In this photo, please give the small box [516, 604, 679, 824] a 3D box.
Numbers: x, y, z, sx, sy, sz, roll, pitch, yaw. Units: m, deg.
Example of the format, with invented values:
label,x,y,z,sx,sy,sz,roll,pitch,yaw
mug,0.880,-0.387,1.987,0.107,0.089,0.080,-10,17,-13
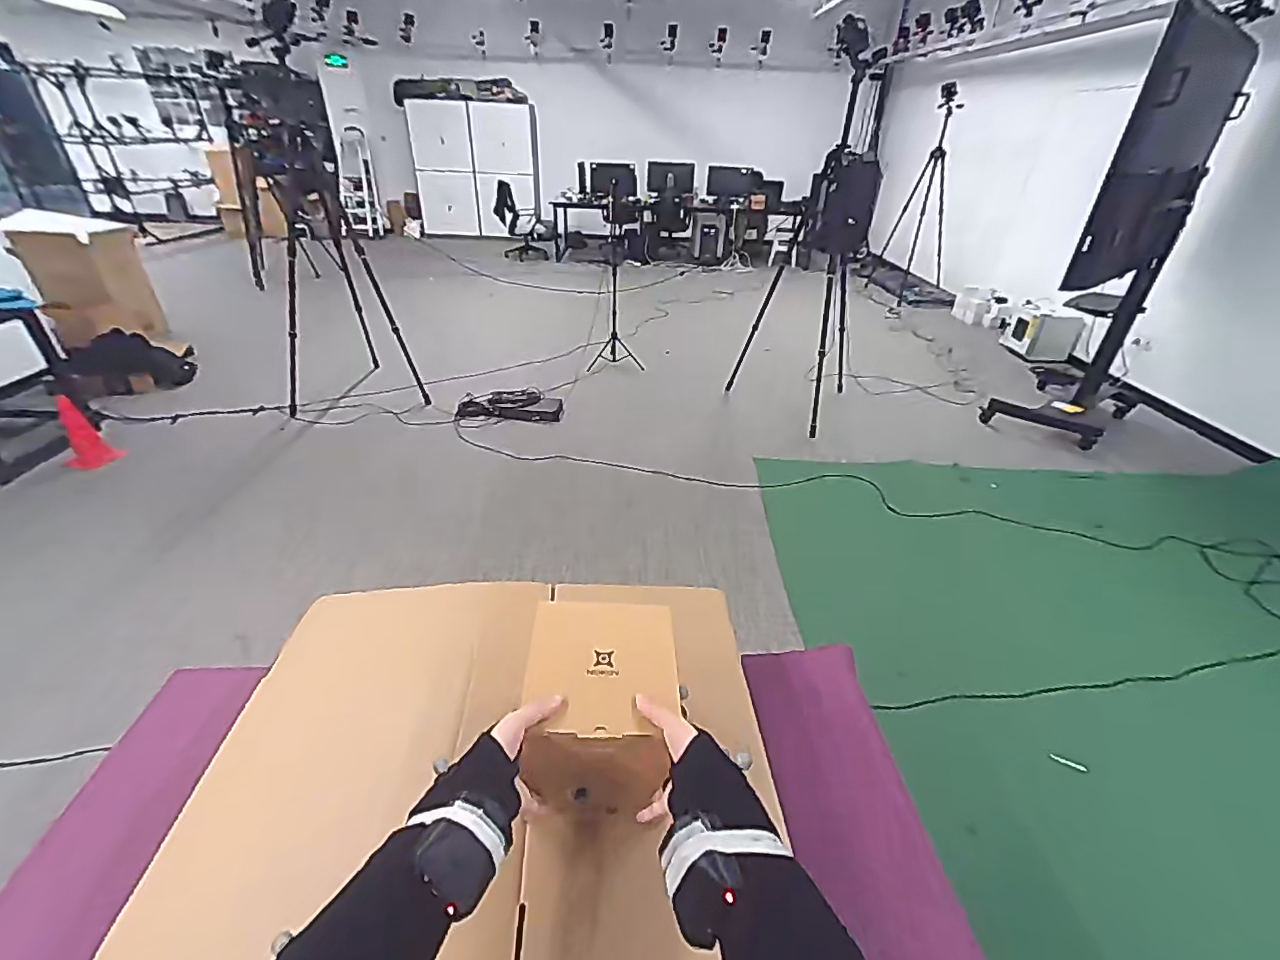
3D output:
label,x,y,z,sx,sy,sz,roll,pitch,yaw
small box,-0.050,0.274,0.644,0.168,0.176,0.179,4,34,-4
